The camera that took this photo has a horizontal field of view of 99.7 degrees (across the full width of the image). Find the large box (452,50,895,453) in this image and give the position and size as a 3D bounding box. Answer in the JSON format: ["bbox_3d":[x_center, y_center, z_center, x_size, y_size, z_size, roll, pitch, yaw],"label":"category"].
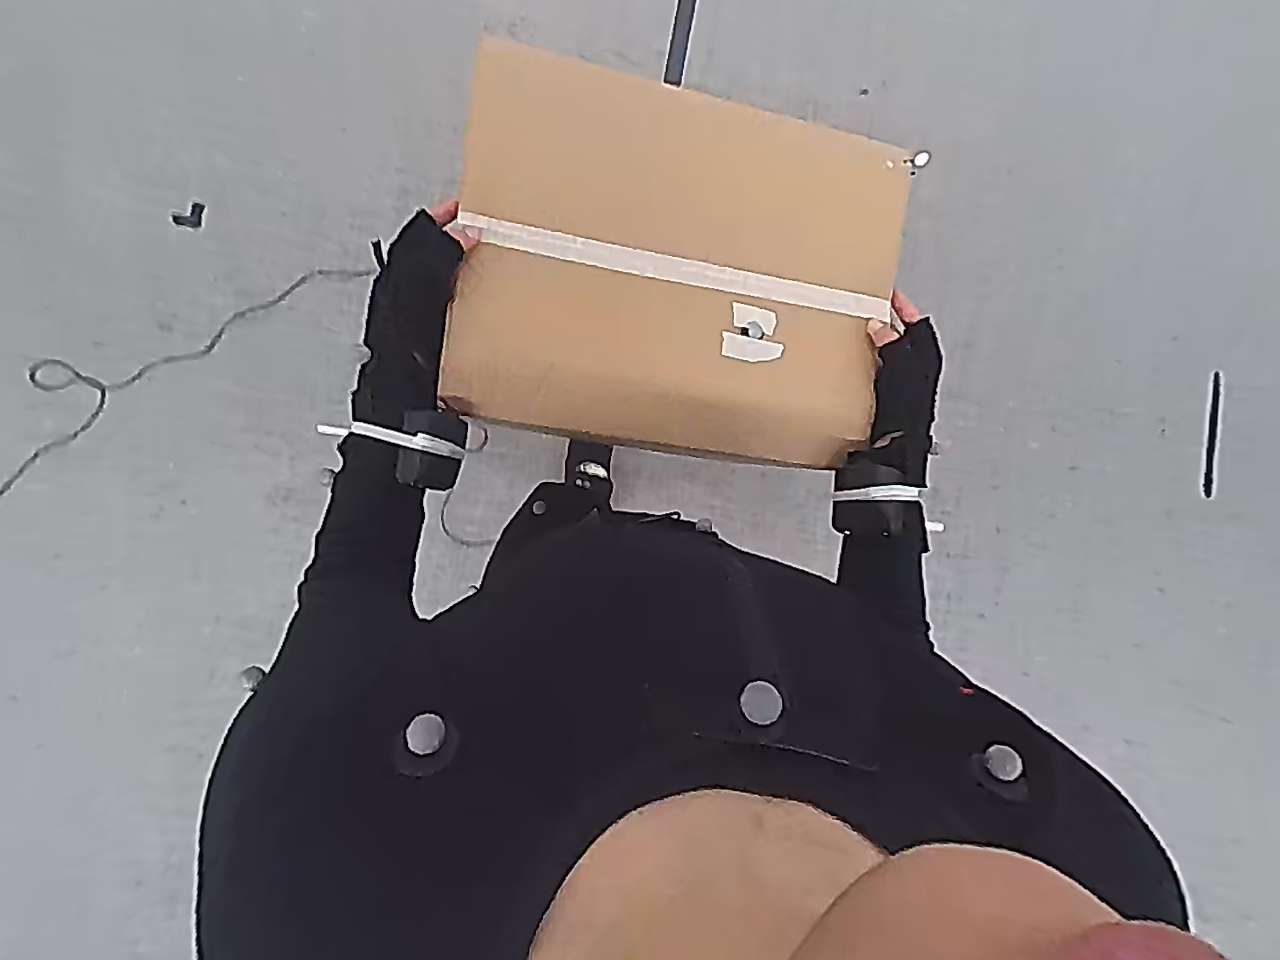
[{"bbox_3d":[0.015,-0.208,0.650,0.408,0.320,0.320,7,93,-11],"label":"large box"}]
